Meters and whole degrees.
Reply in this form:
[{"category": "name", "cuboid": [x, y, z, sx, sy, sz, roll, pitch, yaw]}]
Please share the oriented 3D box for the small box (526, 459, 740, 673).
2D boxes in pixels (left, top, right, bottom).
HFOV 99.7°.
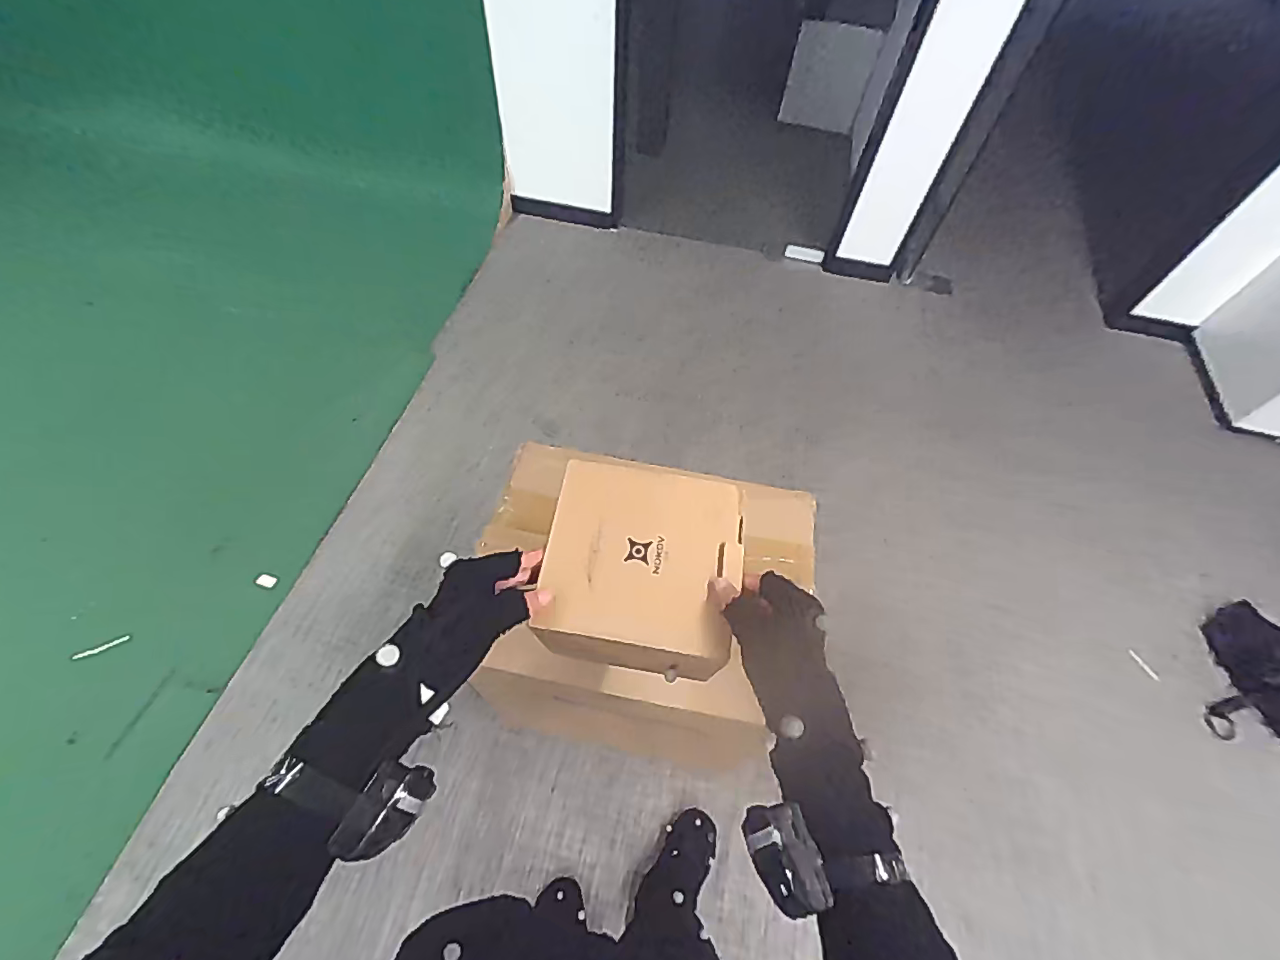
[{"category": "small box", "cuboid": [0.000, 0.098, 0.563, 0.179, 0.176, 0.168, 7, 63, 5]}]
